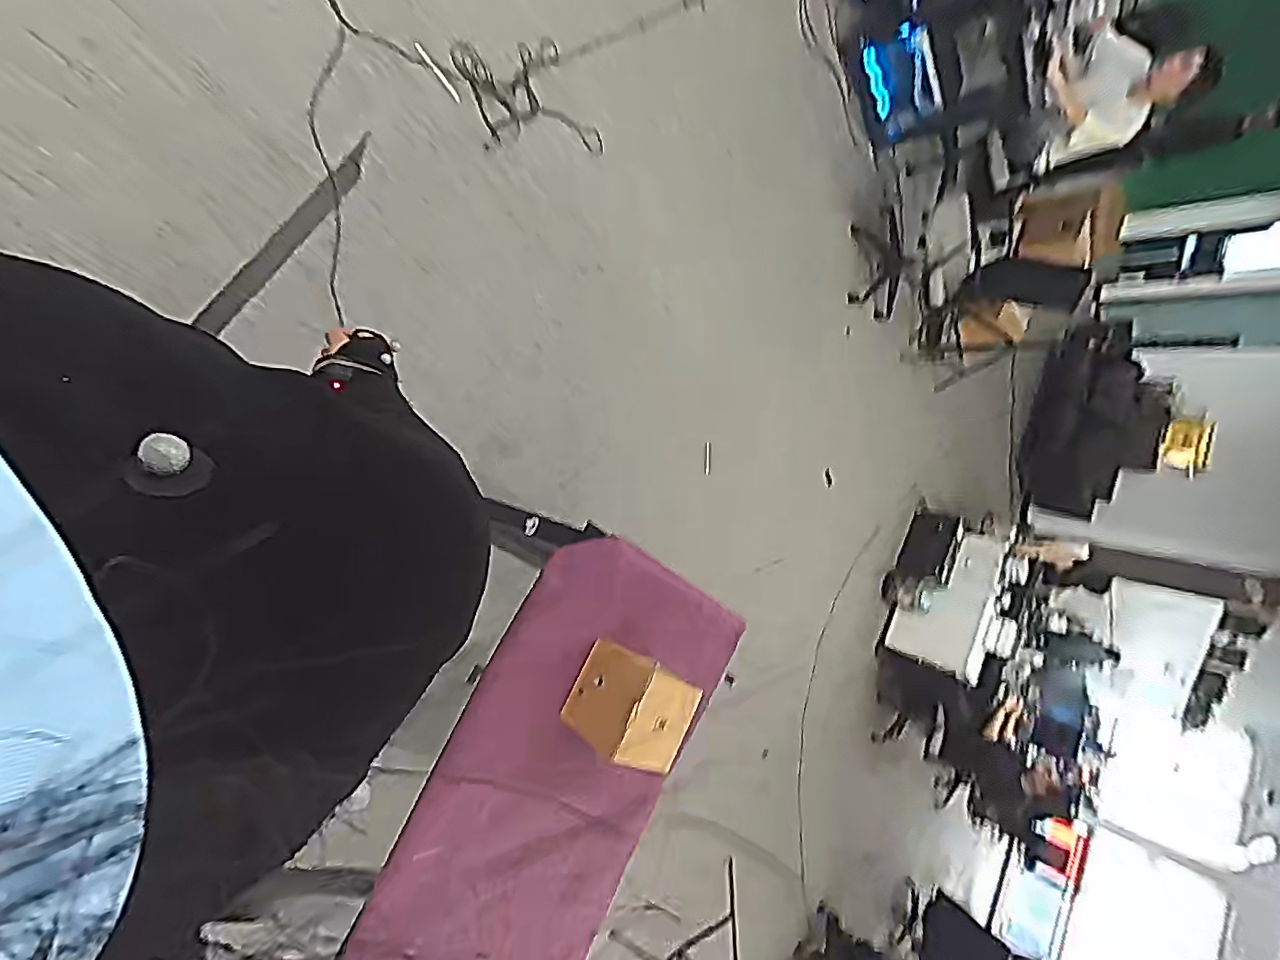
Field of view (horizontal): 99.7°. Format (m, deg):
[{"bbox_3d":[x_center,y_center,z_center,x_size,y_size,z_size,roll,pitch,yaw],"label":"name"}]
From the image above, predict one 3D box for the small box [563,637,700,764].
[{"bbox_3d":[-0.018,0.434,1.078,0.179,0.176,0.168,38,74,-41],"label":"small box"}]
